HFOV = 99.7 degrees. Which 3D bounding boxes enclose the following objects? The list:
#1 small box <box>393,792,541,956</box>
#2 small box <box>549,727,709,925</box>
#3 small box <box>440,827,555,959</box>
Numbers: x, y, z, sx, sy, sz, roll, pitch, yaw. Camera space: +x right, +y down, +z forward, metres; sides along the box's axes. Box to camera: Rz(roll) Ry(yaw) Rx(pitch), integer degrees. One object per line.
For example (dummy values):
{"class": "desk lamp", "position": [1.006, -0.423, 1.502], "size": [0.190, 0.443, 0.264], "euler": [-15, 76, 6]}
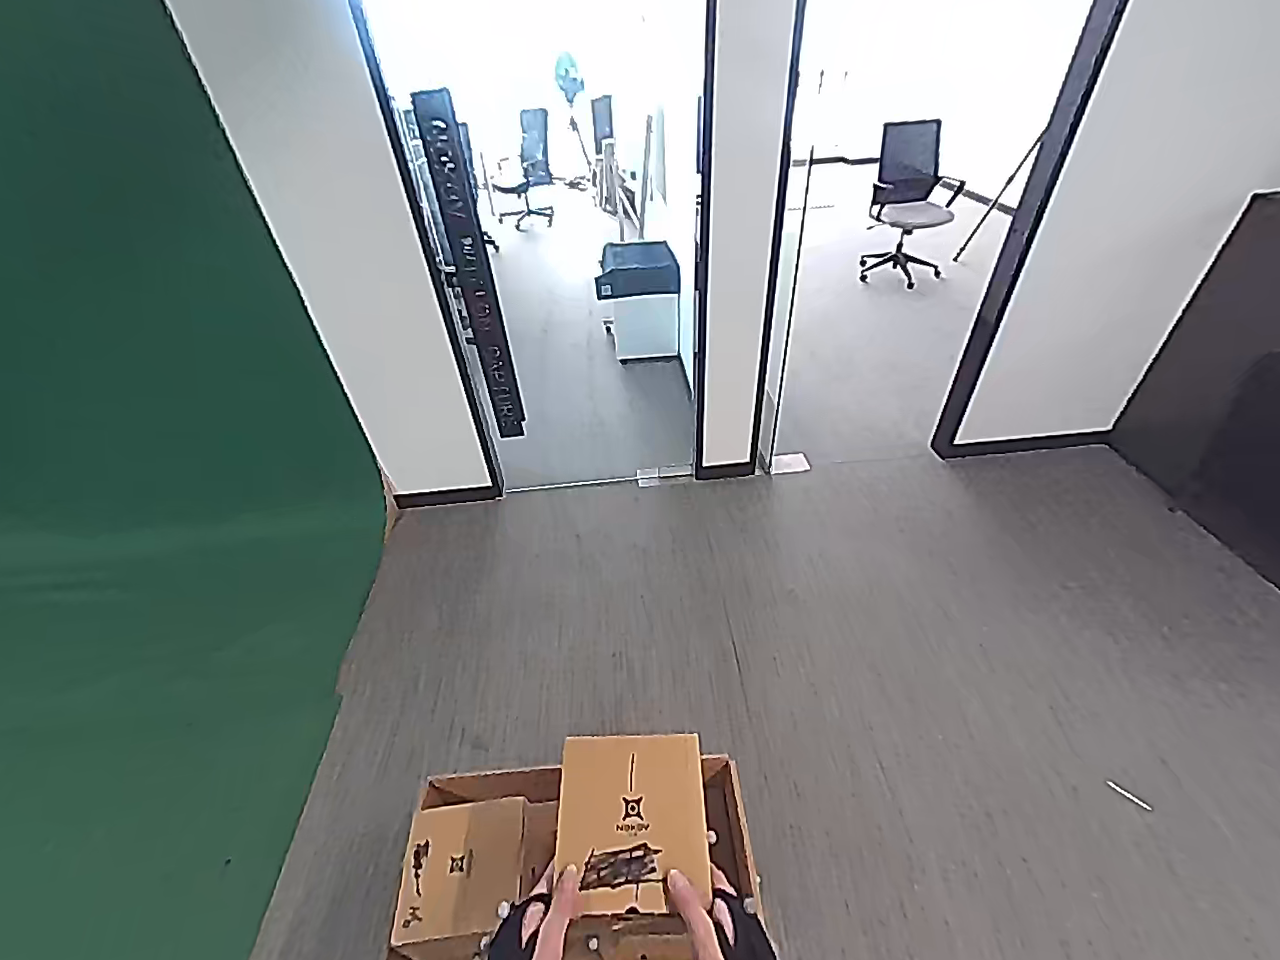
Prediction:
{"class": "small box", "position": [-0.252, 0.612, 0.841], "size": [0.179, 0.176, 0.168], "euler": [-6, 40, -3]}
{"class": "small box", "position": [-0.008, 0.420, 0.653], "size": [0.168, 0.176, 0.179], "euler": [-2, 44, 0]}
{"class": "small box", "position": [-0.245, 0.737, 0.948], "size": [0.179, 0.176, 0.168], "euler": [-4, 40, -2]}
